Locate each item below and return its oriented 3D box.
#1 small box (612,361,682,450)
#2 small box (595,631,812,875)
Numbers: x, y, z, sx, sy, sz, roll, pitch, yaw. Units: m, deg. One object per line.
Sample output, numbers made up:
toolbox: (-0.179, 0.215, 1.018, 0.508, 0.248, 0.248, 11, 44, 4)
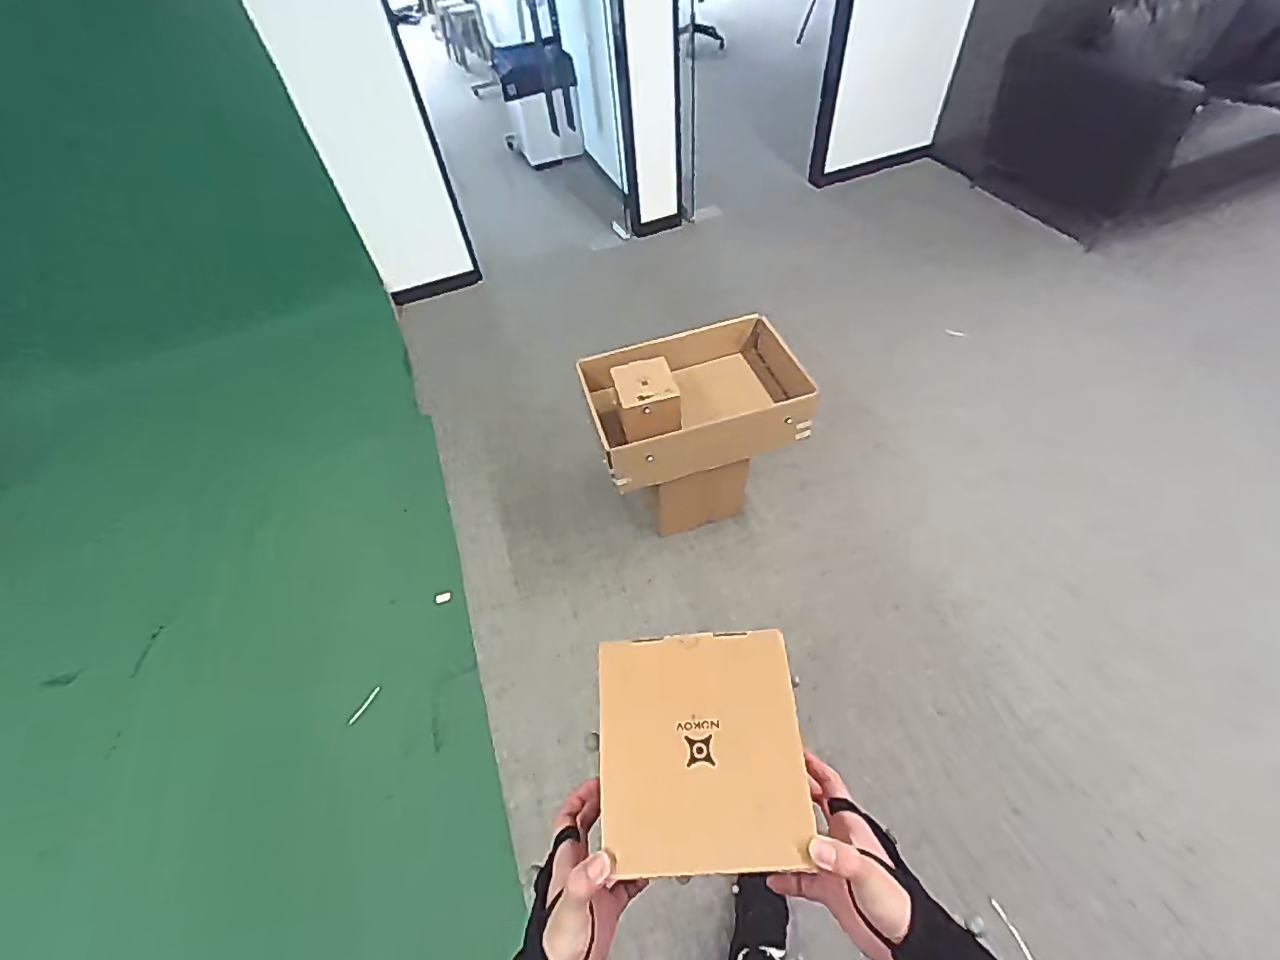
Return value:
small box: (0.023, -0.215, 1.580, 0.168, 0.176, 0.179, -14, 52, -5)
small box: (0.052, 0.252, 0.511, 0.168, 0.176, 0.179, -4, 61, 3)
